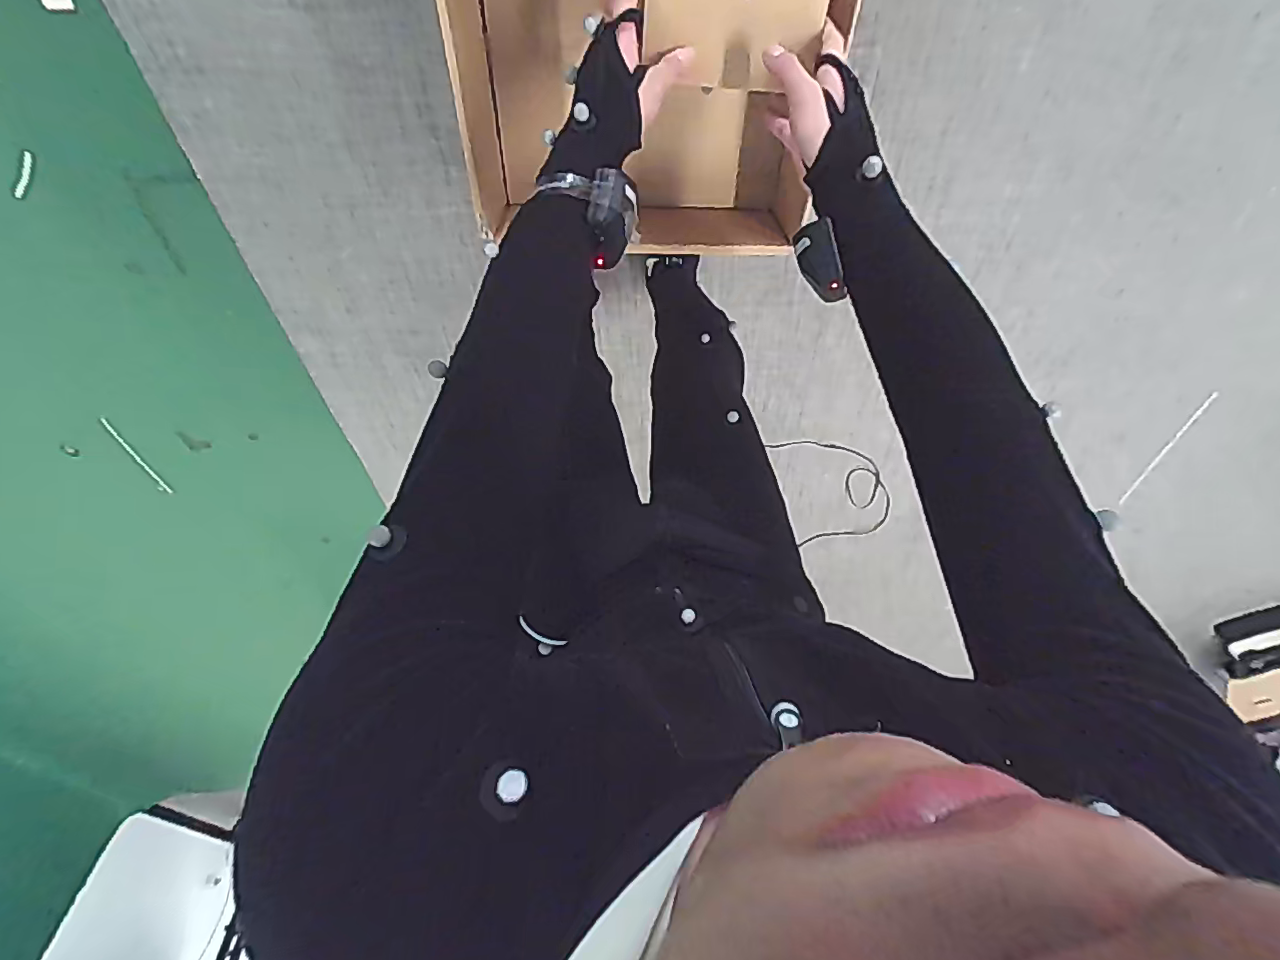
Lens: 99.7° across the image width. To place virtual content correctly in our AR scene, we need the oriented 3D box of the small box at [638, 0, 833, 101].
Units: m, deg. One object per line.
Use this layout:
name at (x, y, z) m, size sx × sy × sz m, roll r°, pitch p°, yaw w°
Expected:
small box at (0.086, -0.488, 0.514) m, size 0.168 × 0.176 × 0.179 m, roll 1°, pitch 134°, yaw -5°
